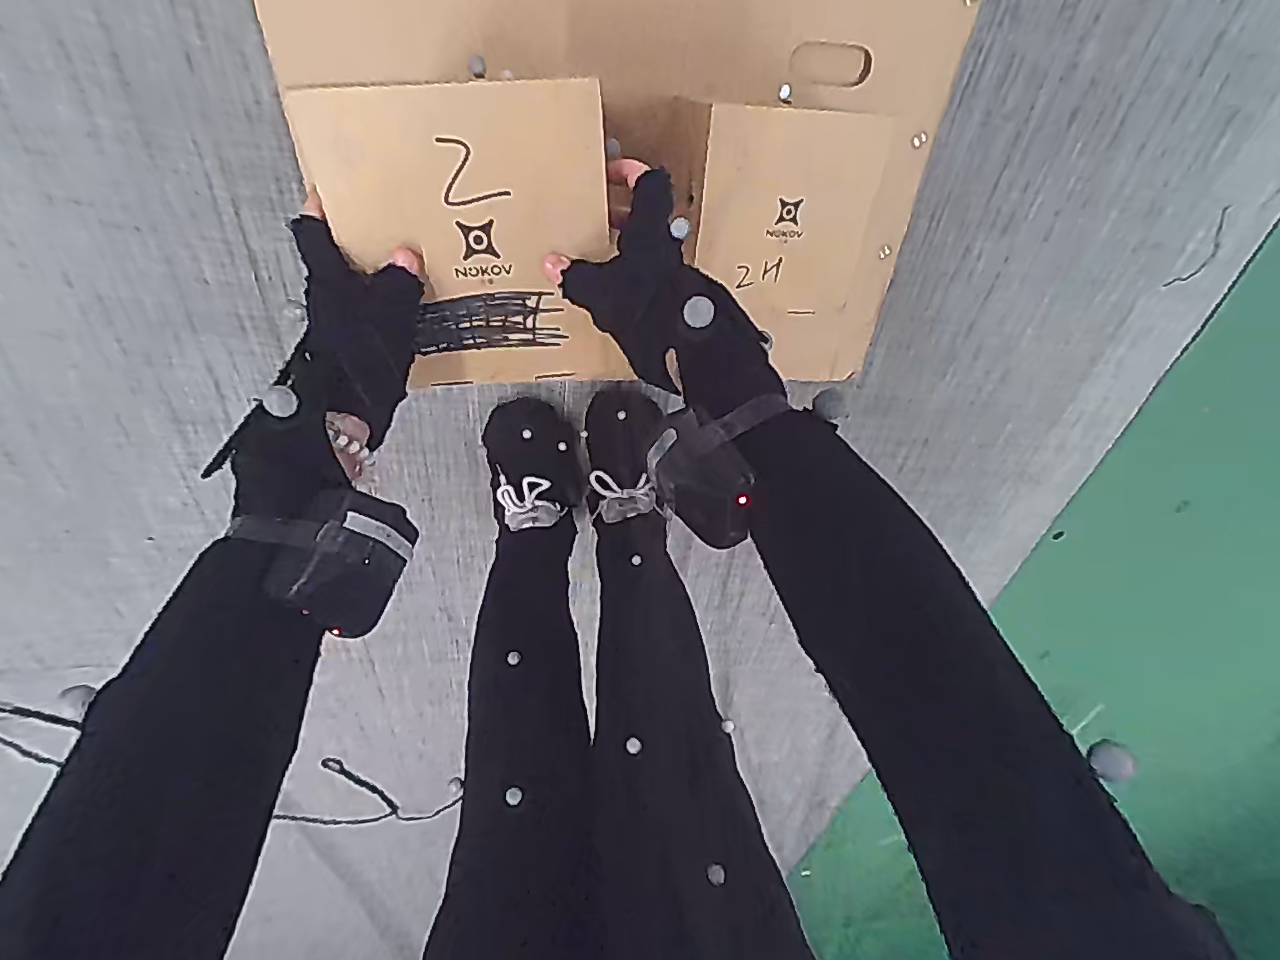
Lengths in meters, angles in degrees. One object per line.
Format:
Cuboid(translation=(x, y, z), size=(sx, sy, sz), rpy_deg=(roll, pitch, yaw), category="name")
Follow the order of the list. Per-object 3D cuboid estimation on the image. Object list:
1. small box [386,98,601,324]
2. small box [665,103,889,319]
Cuboid(translation=(-0.126, -0.272, 0.540), size=(0.168, 0.176, 0.179), rpy_deg=(-5, 126, -5), category="small box")
Cuboid(translation=(0.122, -0.285, 0.569), size=(0.168, 0.176, 0.179), rpy_deg=(0, 127, -6), category="small box")
